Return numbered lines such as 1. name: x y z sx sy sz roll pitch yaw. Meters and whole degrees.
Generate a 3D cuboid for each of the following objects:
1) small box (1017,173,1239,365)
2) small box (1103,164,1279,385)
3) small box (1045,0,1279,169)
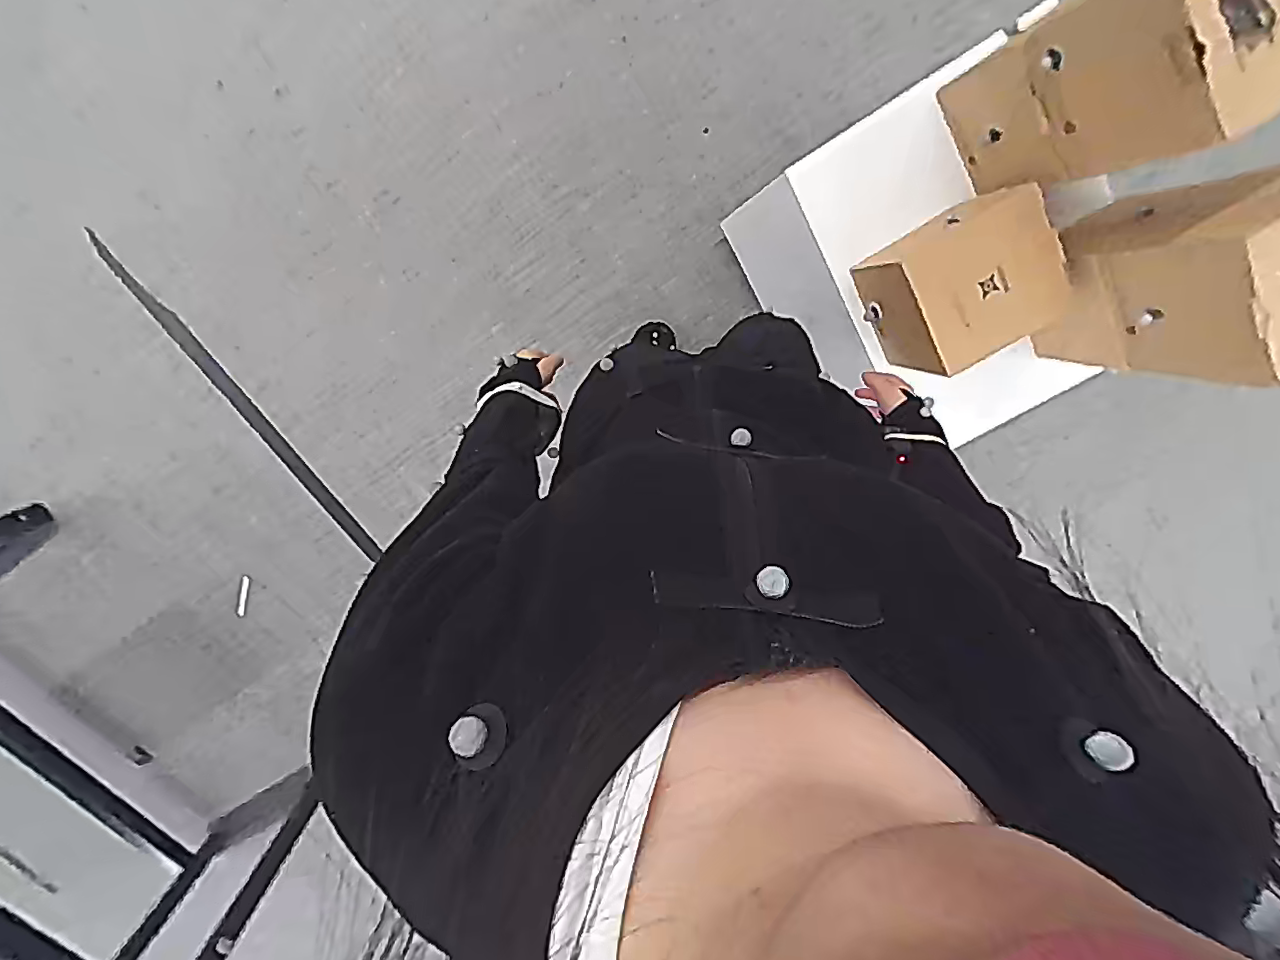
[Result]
1. small box: 0.658 -0.276 0.737 0.179 0.176 0.168 -29 107 9
2. small box: 0.664 -0.226 0.579 0.179 0.176 0.168 -29 106 9
3. small box: 0.528 -0.428 0.505 0.179 0.176 0.168 -33 107 9
